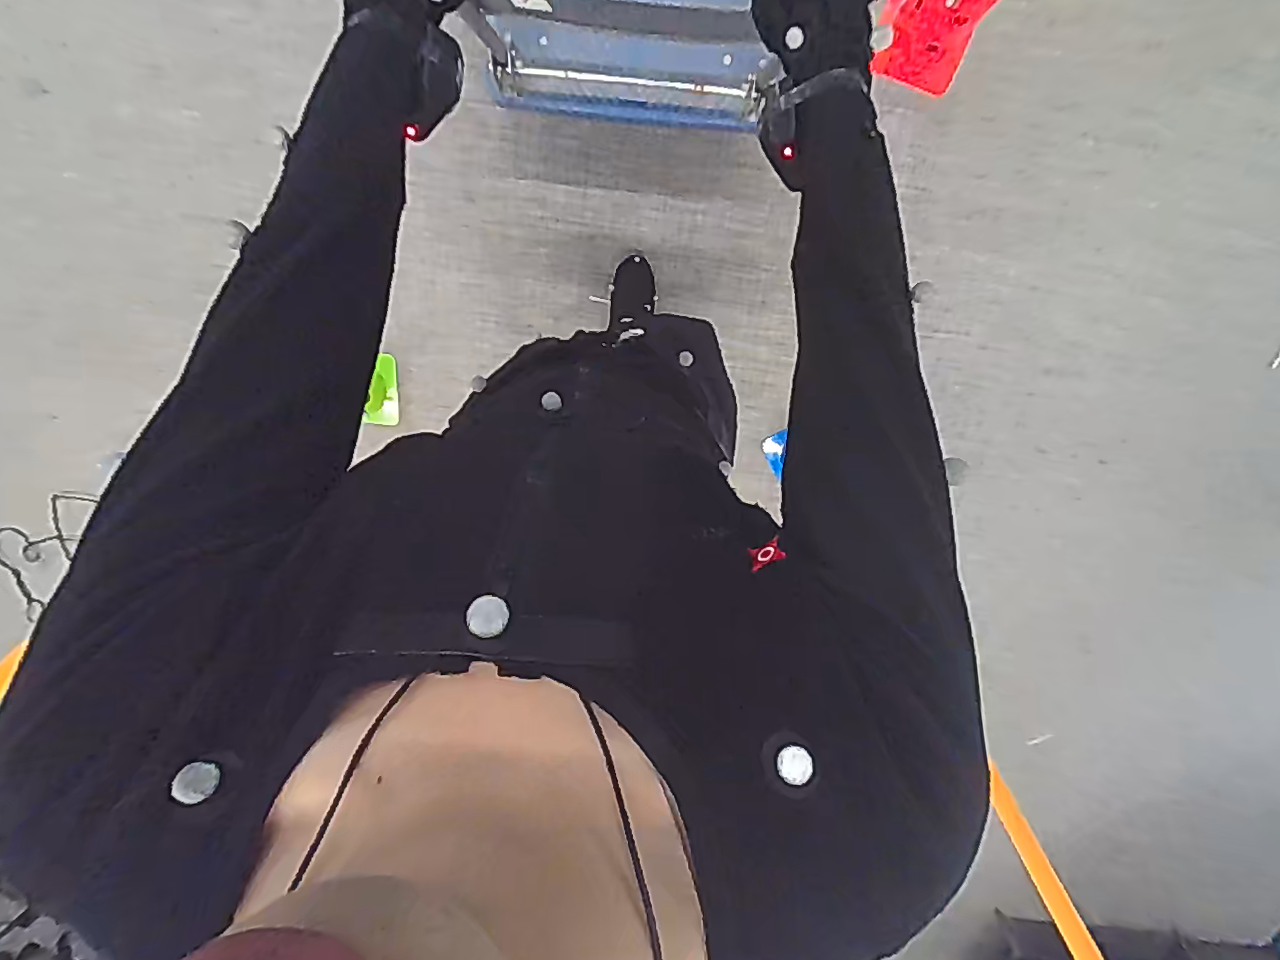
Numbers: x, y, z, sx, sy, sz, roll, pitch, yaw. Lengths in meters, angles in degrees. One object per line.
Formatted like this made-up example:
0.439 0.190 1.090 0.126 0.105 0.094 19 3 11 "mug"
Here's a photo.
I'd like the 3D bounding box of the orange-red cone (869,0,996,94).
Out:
0.608 -0.895 0.993 0.198 0.360 0.199 18 112 -6 "orange-red cone"
